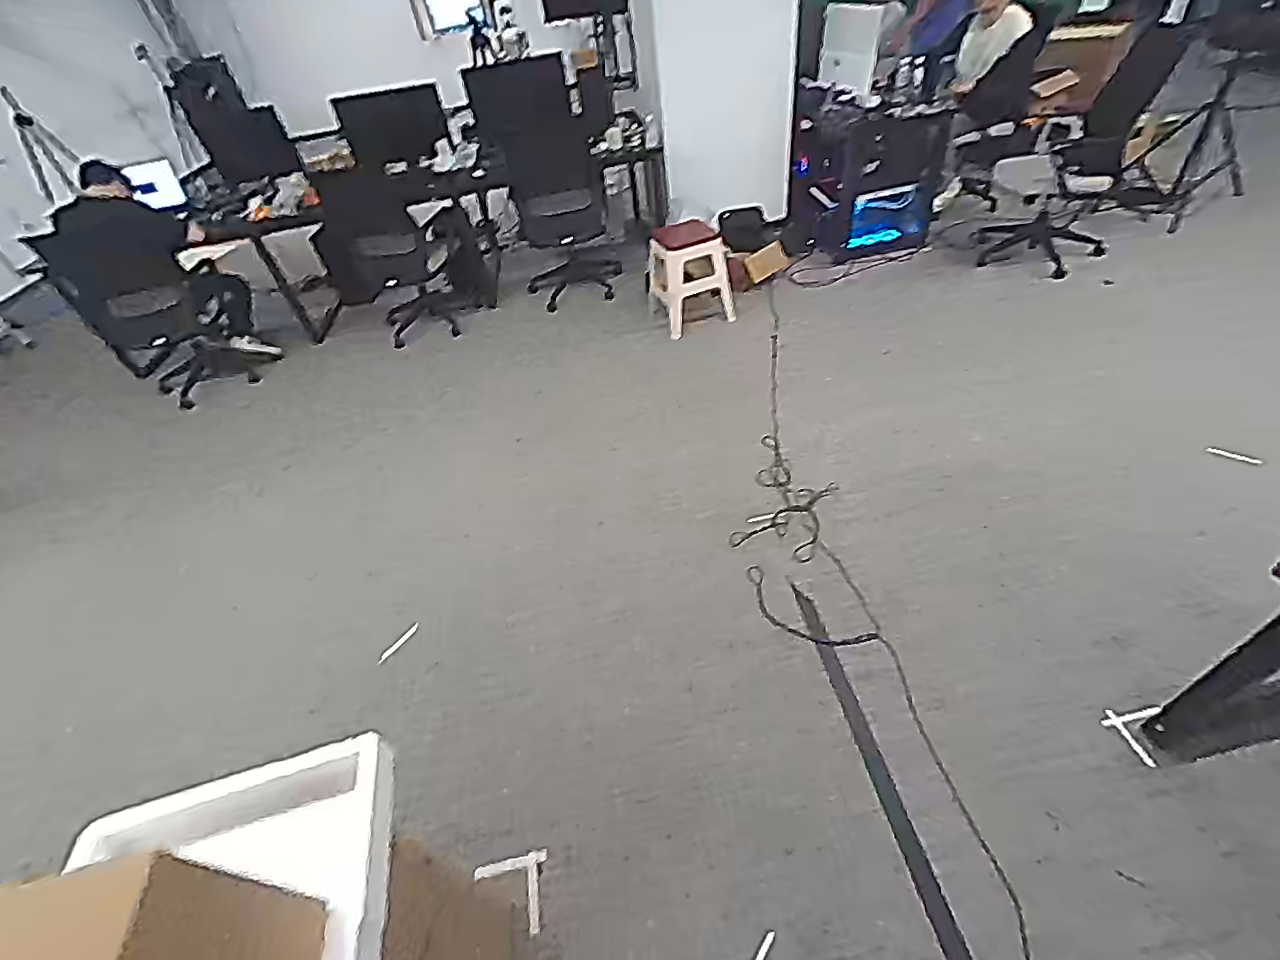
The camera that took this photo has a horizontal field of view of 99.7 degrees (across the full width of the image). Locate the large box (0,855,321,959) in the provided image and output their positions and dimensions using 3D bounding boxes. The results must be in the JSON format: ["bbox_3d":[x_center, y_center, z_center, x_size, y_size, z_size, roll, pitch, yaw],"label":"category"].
[{"bbox_3d":[-0.532,0.623,0.461,0.320,0.320,0.408,-15,45,-4],"label":"large box"}]
